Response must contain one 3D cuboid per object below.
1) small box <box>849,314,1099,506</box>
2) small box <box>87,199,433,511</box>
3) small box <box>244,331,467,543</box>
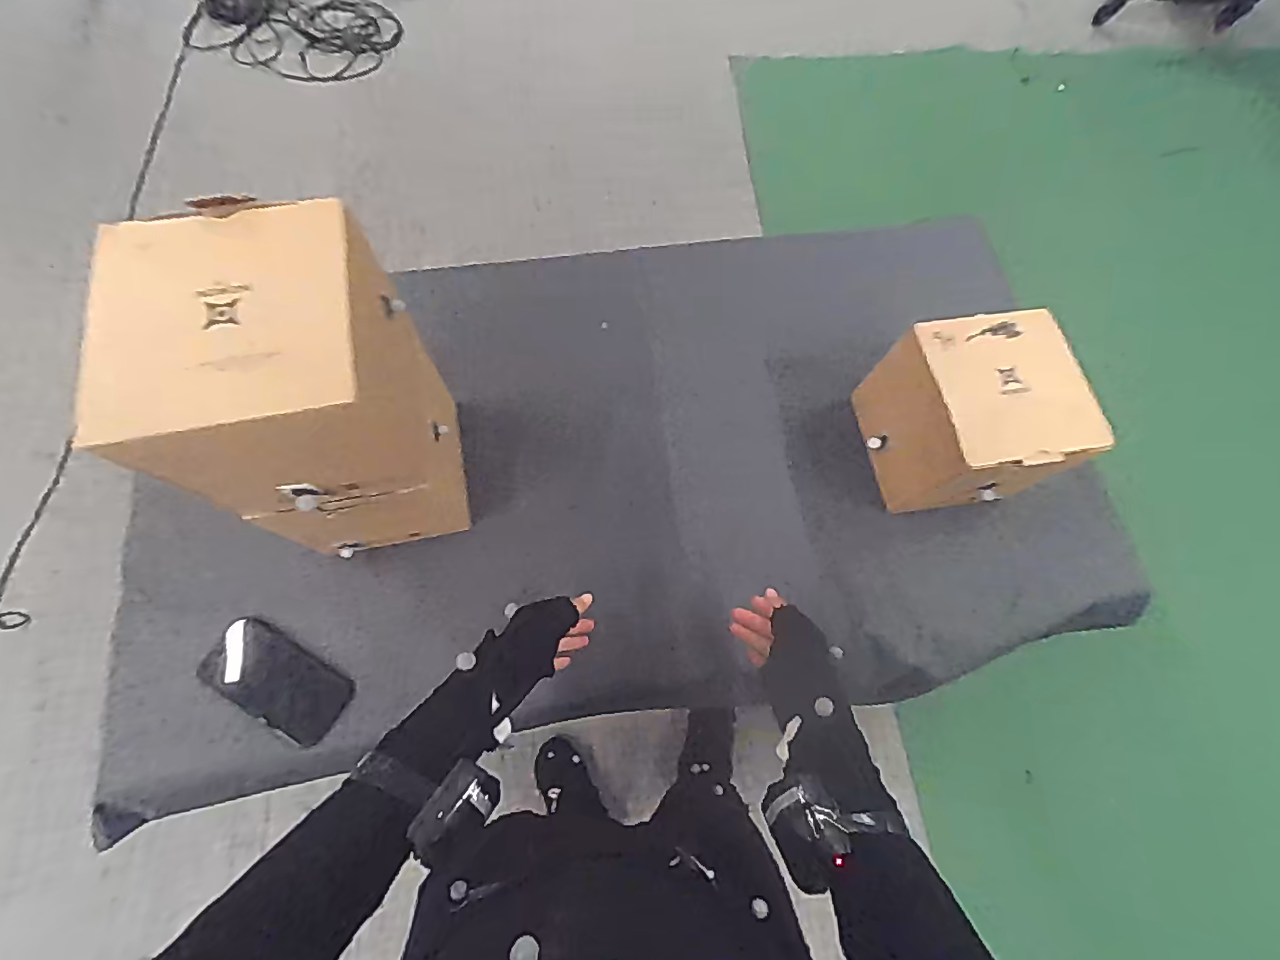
[{"bbox_3d":[0.384,-0.073,0.659,0.168,0.176,0.179,-7,72,-7],"label":"small box"},{"bbox_3d":[-0.283,-0.090,0.443,0.168,0.176,0.179,-11,74,-7],"label":"small box"},{"bbox_3d":[-0.298,-0.037,0.595,0.168,0.176,0.179,-10,71,-8],"label":"small box"}]
